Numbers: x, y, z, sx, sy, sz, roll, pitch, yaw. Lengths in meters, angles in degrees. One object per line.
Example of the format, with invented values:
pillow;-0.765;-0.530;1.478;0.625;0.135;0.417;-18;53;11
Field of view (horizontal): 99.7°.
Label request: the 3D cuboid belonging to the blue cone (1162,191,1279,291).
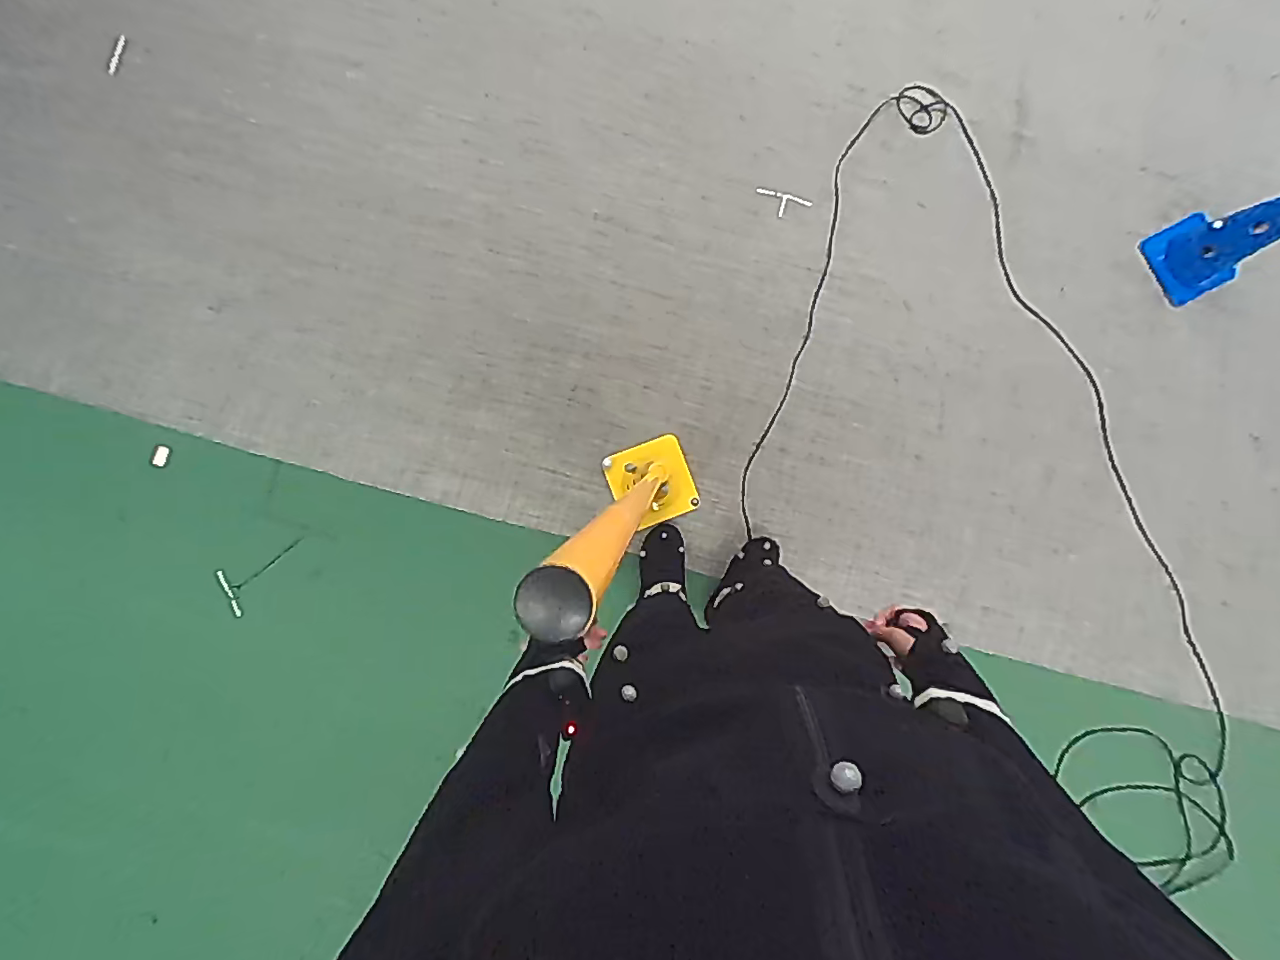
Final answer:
blue cone;1.435;-0.605;1.201;0.193;0.380;0.192;-30;88;-4
